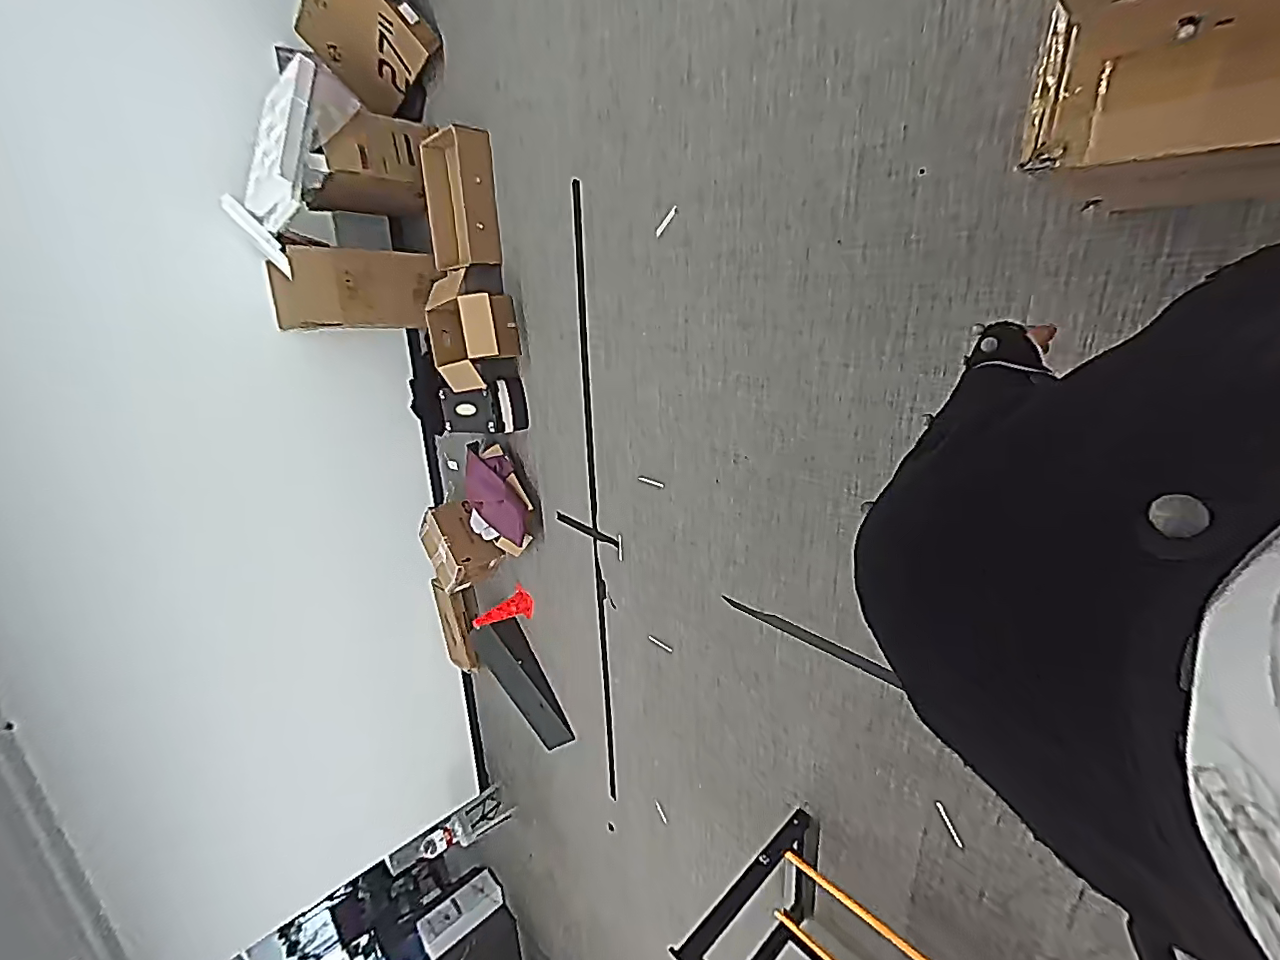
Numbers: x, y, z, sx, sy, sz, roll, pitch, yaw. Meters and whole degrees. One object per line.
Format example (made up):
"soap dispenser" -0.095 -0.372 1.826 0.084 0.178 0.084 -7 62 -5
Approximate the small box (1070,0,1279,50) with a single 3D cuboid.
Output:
"small box" 0.519 -0.535 0.485 0.168 0.176 0.179 17 117 44
